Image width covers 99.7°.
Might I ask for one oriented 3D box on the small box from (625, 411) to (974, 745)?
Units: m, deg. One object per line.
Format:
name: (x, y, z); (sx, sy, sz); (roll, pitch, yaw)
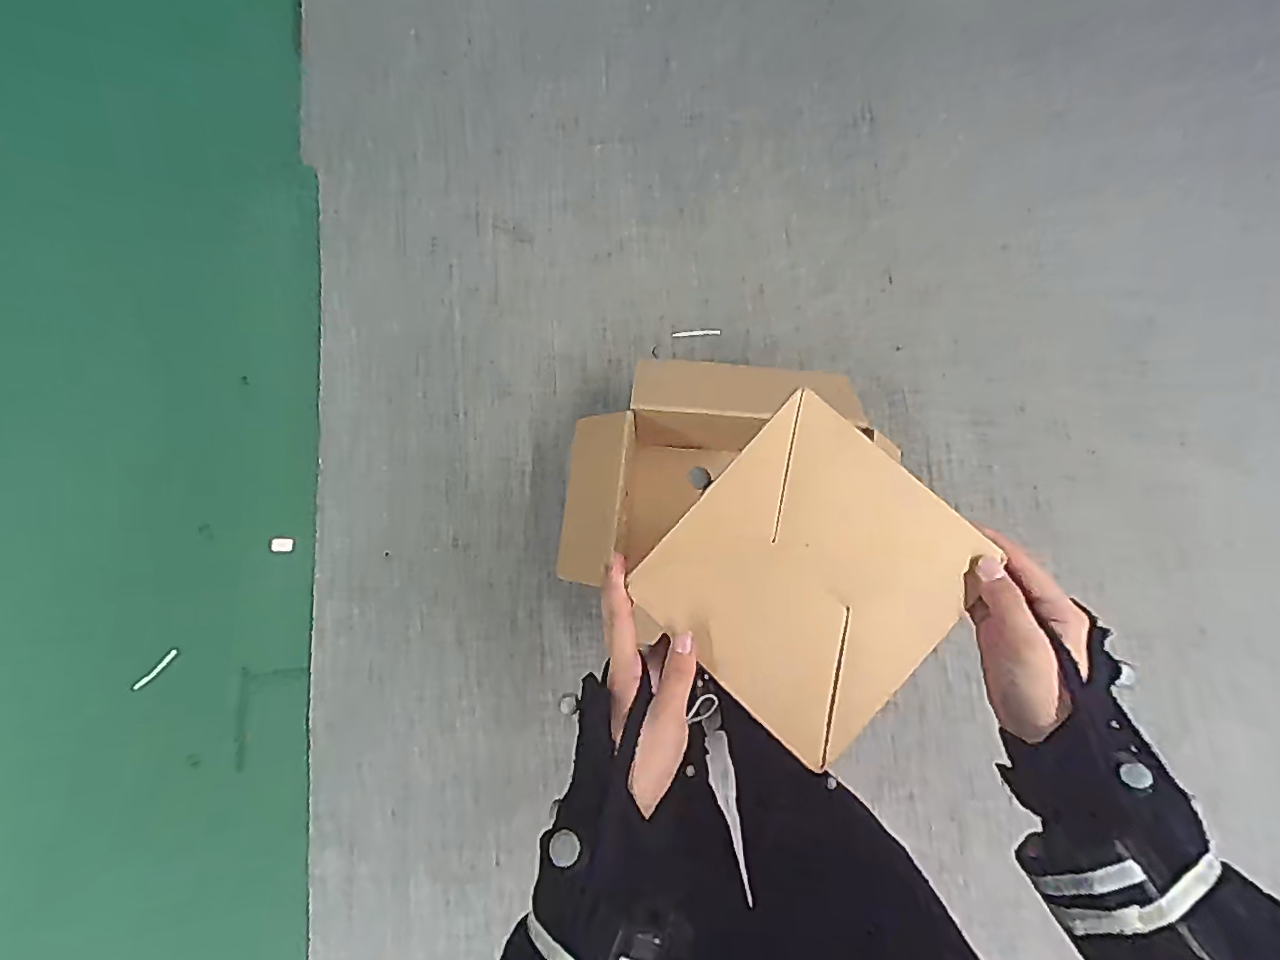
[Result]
small box: (0.107, 0.063, 0.421); (0.168, 0.176, 0.179); (42, 89, 7)
